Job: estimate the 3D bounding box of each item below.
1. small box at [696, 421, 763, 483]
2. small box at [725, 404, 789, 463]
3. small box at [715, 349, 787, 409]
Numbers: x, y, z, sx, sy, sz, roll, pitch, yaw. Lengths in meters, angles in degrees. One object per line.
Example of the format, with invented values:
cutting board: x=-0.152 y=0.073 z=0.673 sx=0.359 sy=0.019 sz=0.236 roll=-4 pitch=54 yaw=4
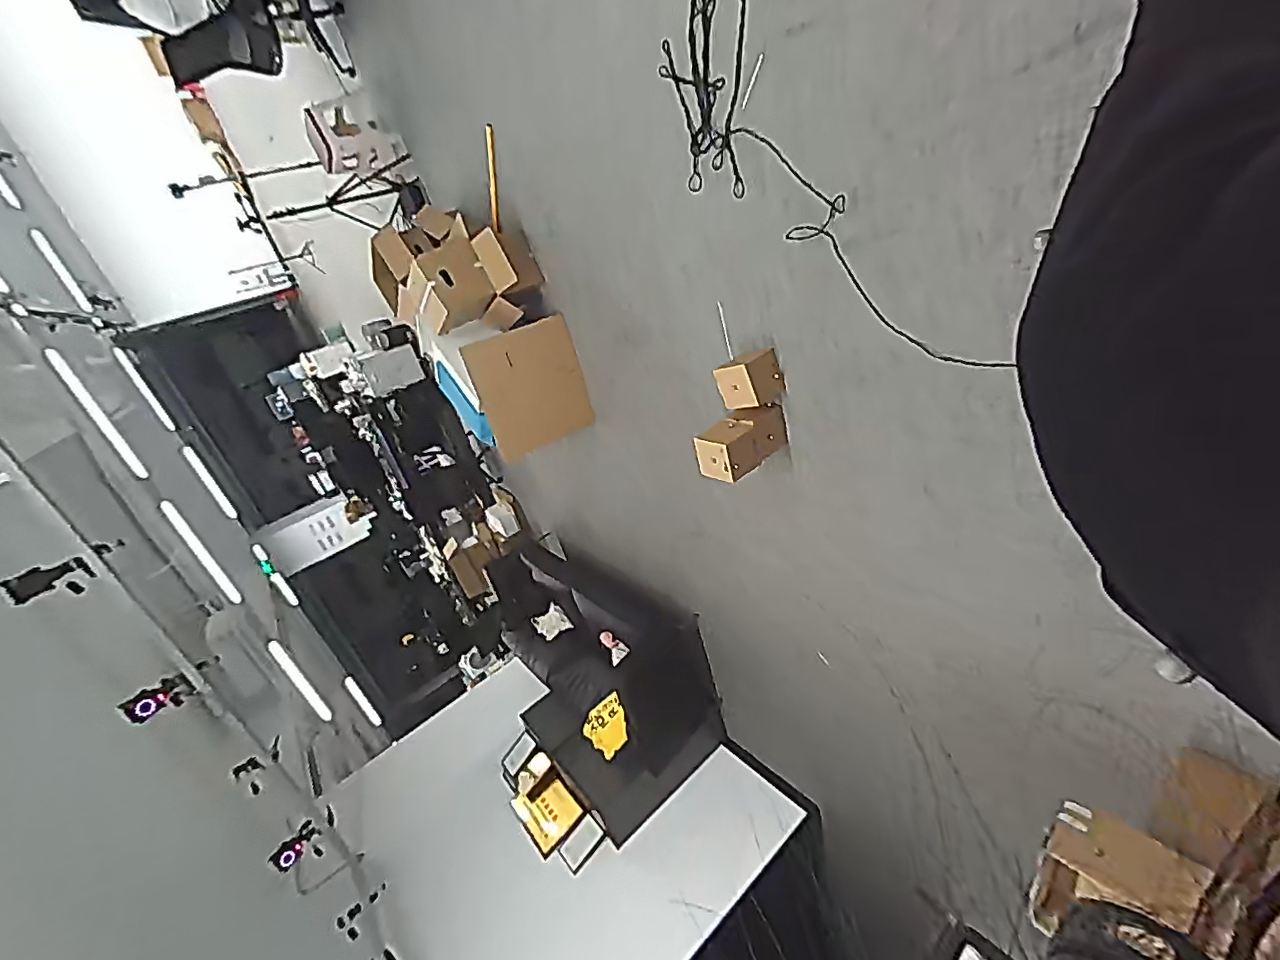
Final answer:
small box: x=0.346 y=-0.113 z=2.077 sx=0.179 sy=0.176 sz=0.168 roll=21 pitch=135 yaw=51
small box: x=0.468 y=-0.195 z=2.150 sx=0.168 sy=0.176 sz=0.179 roll=19 pitch=134 yaw=51
small box: x=0.421 y=-0.381 z=2.041 sx=0.179 sy=0.176 sz=0.168 roll=5 pitch=123 yaw=57
